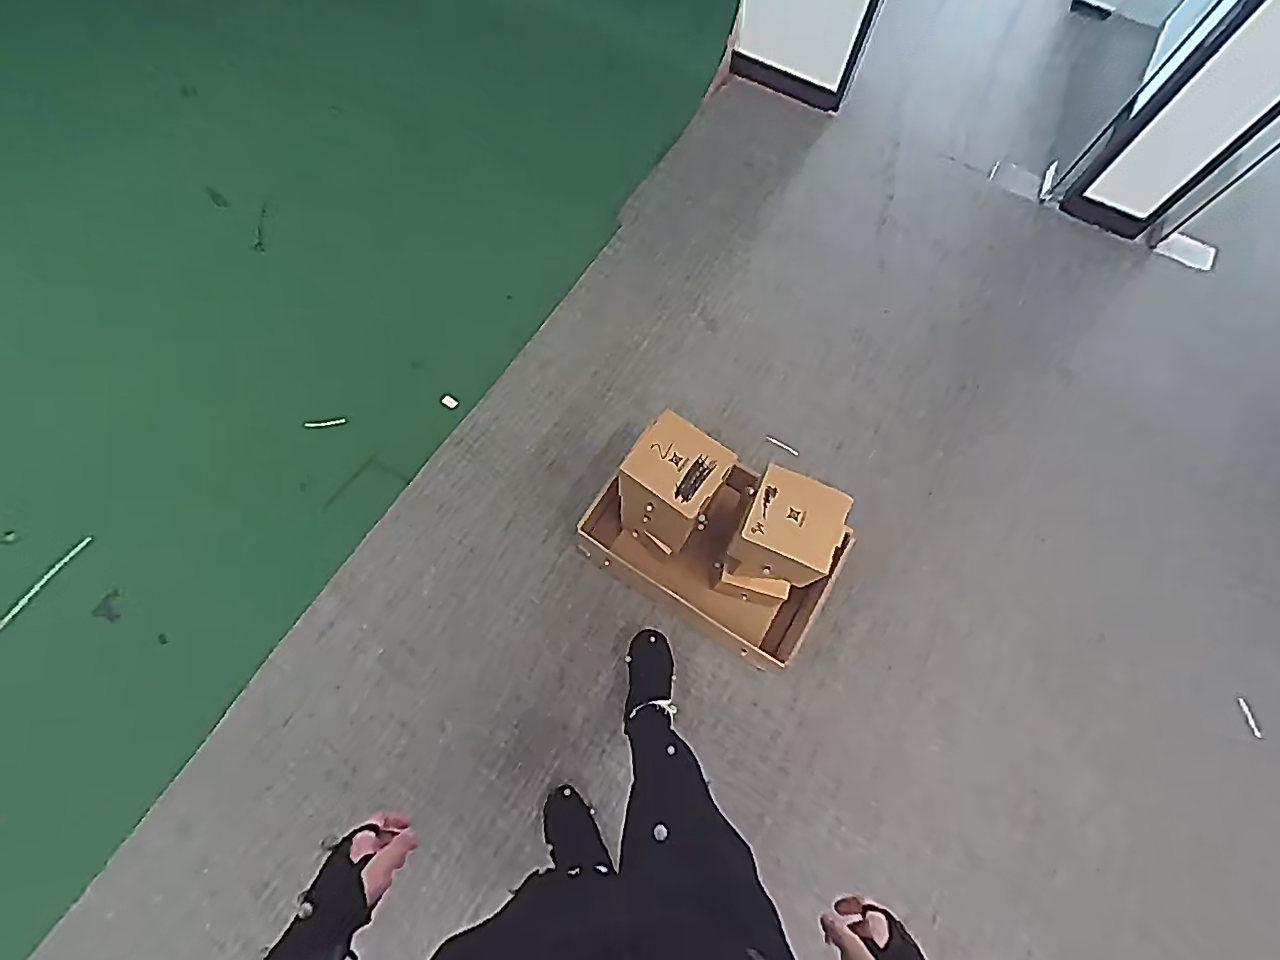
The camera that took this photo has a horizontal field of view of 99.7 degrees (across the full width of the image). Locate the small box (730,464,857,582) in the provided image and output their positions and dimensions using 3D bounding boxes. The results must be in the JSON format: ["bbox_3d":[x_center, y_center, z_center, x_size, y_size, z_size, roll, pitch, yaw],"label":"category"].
[{"bbox_3d":[0.302,0.096,1.094,0.179,0.176,0.168,24,72,7],"label":"small box"}]

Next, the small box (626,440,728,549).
[{"bbox_3d":[0.079,0.043,1.281,0.179,0.176,0.168,35,72,9],"label":"small box"}]

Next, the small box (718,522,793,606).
[{"bbox_3d":[0.303,0.215,1.397,0.168,0.176,0.179,15,70,5],"label":"small box"}]

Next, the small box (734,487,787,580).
[{"bbox_3d":[0.315,0.130,1.255,0.168,0.176,0.179,6,70,1],"label":"small box"}]
